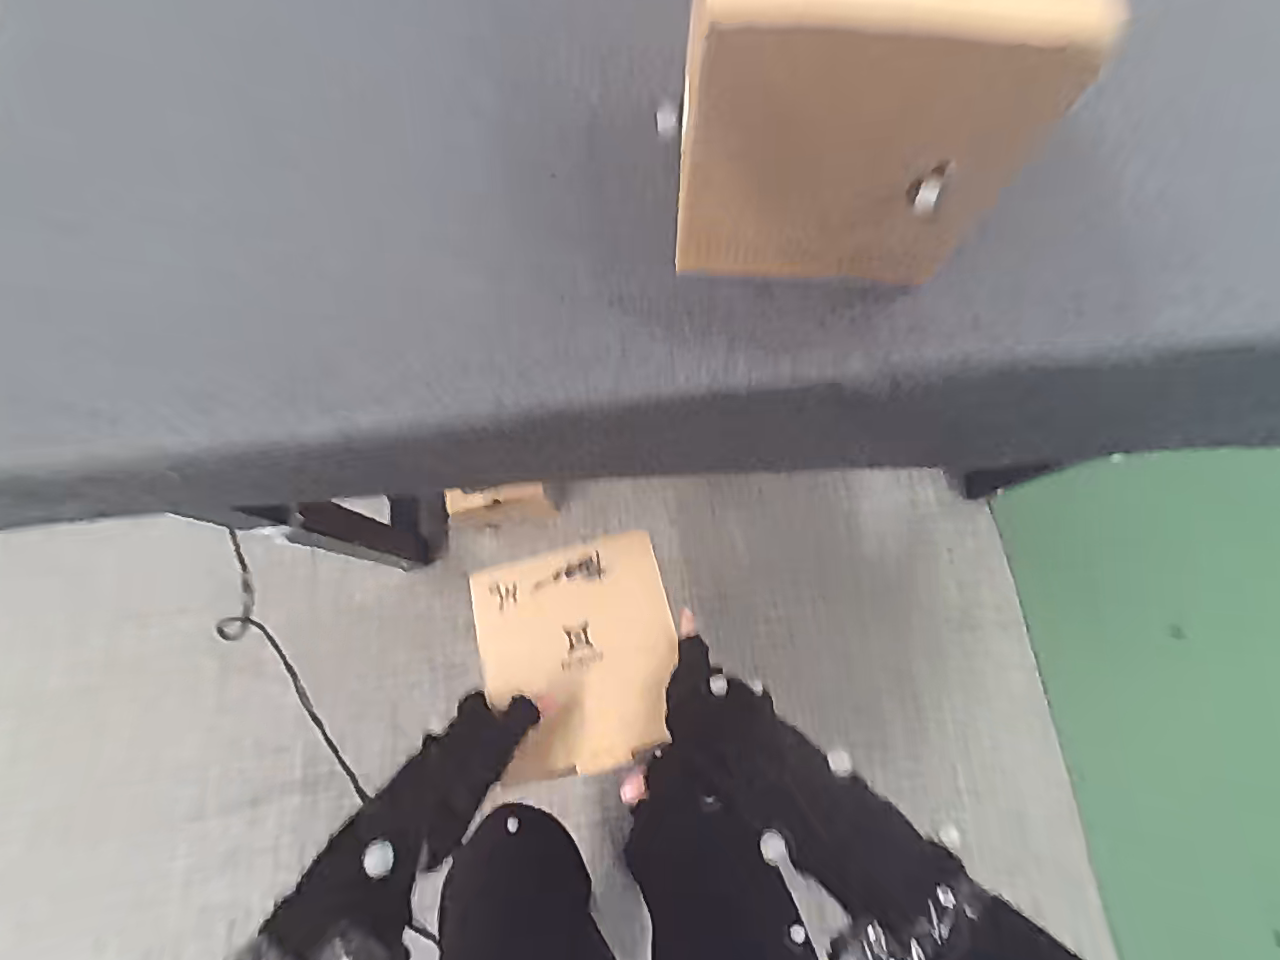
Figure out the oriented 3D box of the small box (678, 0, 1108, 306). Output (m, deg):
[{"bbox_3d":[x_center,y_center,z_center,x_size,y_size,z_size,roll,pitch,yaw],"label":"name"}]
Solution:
[{"bbox_3d":[0.120,-0.226,0.332,0.179,0.176,0.168,3,73,1],"label":"small box"}]
